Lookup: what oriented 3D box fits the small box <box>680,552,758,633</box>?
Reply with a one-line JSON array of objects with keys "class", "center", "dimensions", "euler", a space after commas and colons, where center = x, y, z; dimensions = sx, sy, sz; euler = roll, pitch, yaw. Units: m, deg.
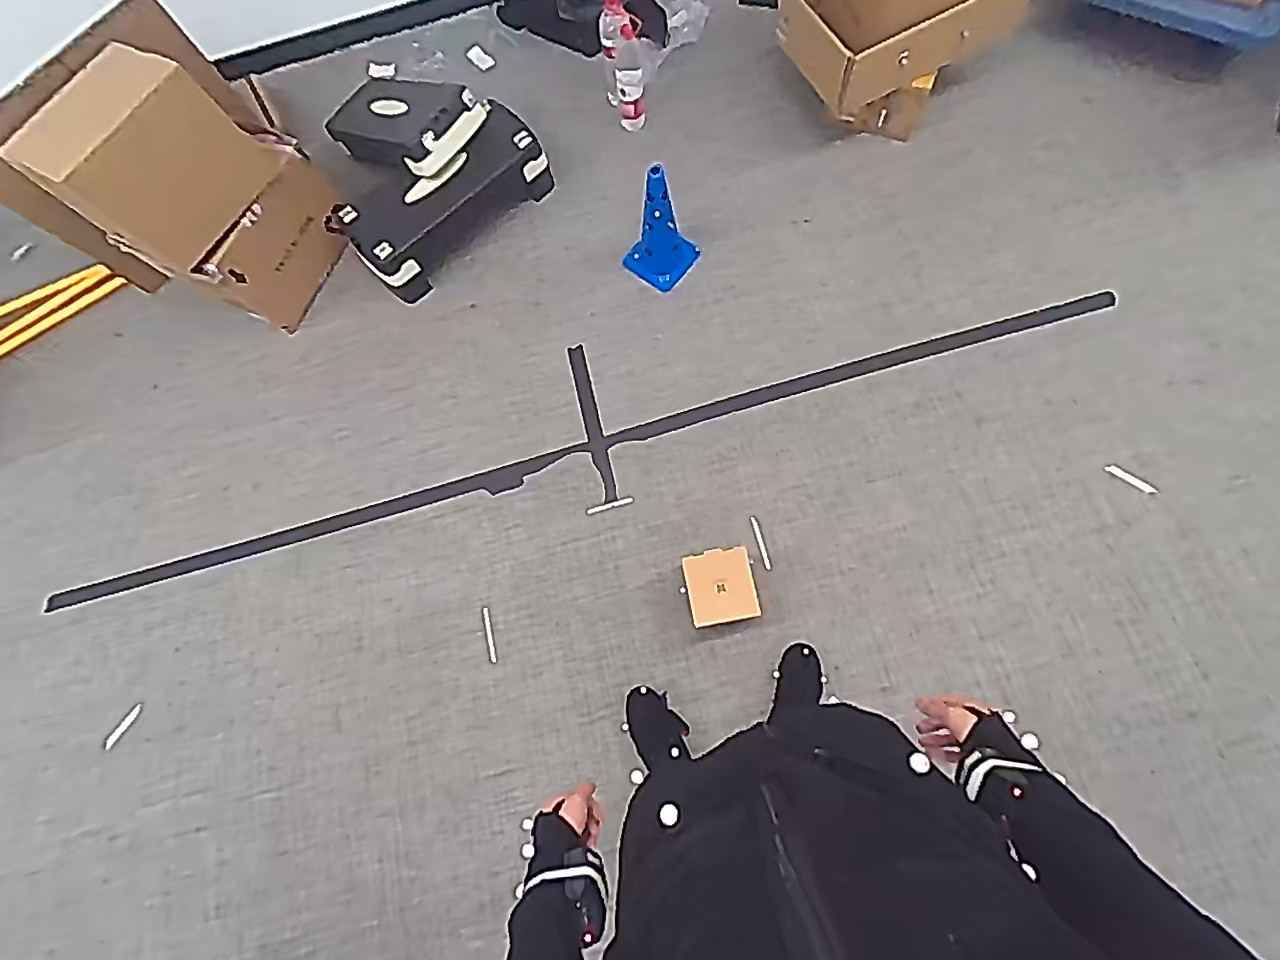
[{"class": "small box", "center": [0.202, 0.297, 1.411], "dimensions": [0.168, 0.176, 0.179], "euler": [-11, 74, 2]}]
